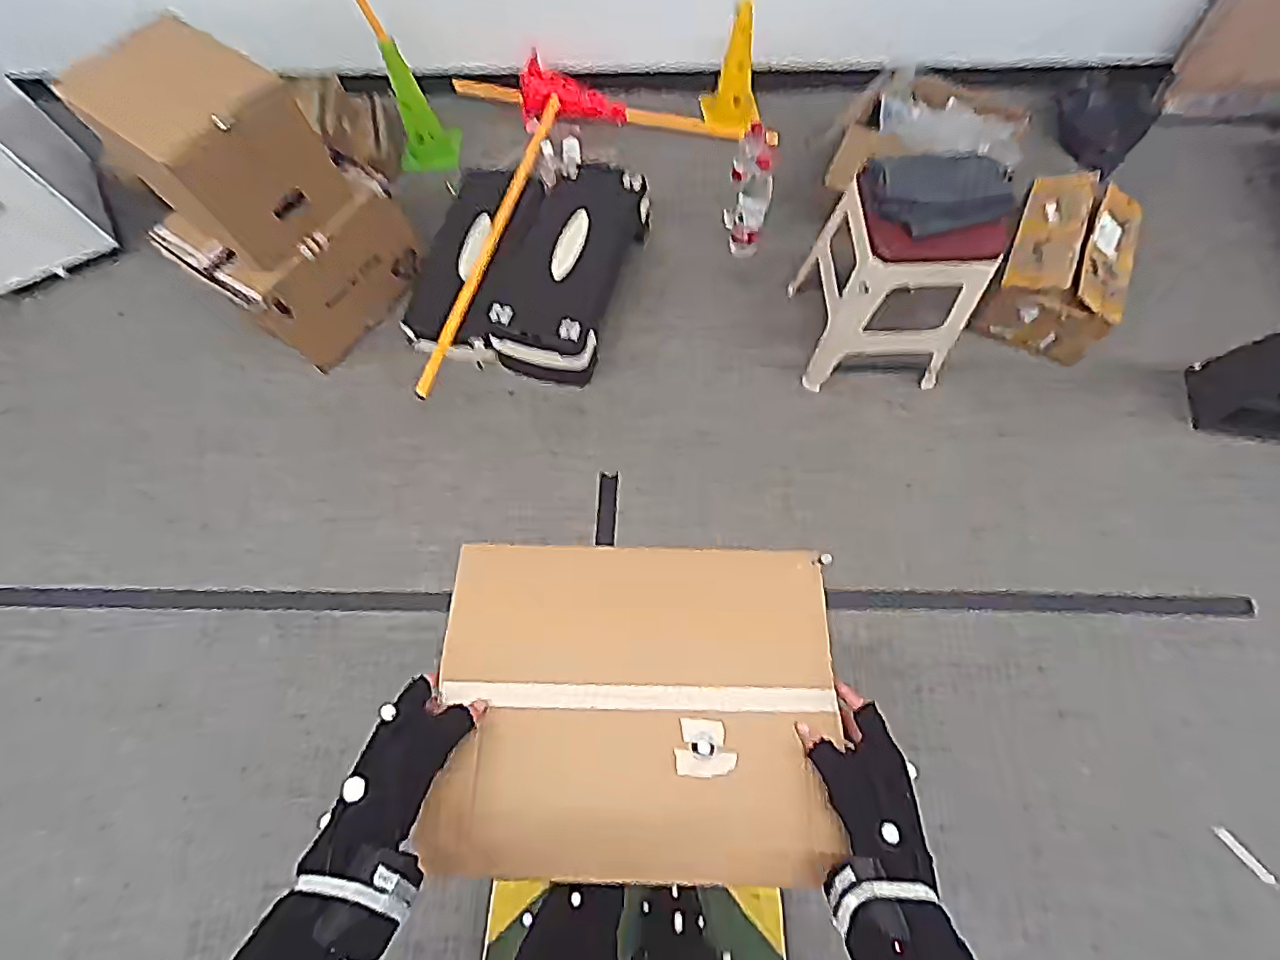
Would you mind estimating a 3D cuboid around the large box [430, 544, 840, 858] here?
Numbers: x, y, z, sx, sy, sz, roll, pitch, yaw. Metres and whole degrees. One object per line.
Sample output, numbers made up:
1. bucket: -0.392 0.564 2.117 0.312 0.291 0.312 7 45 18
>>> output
1. large box: -0.007 0.279 0.712 0.408 0.320 0.320 2 67 0
